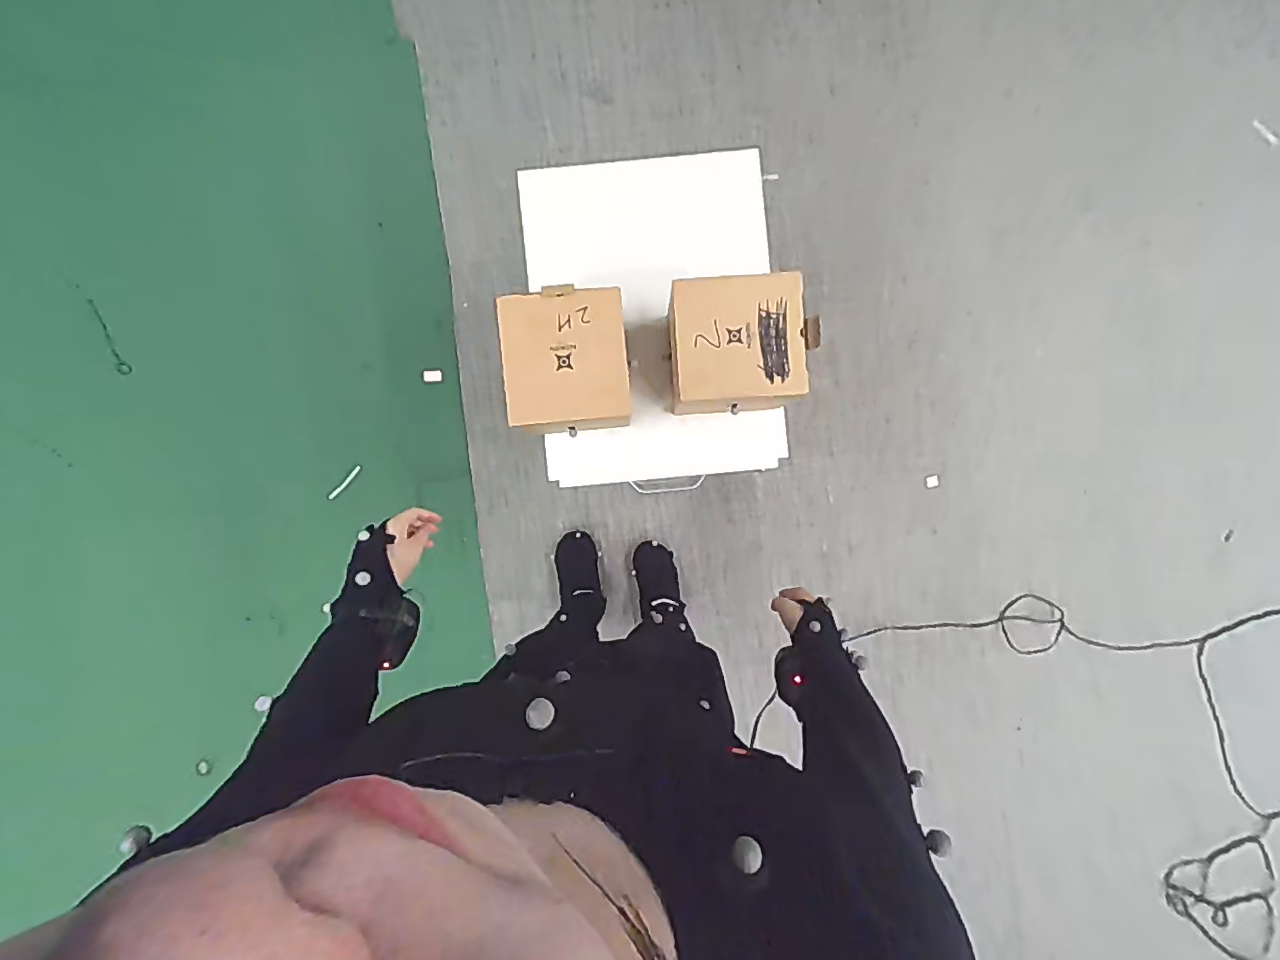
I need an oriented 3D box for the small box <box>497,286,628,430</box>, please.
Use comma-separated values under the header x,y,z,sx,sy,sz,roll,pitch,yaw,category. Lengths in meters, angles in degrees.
x,y,z,sx,sy,sz,roll,pitch,yaw,category
-0.104,-0.167,0.794,0.168,0.176,0.179,-5,91,-3,small box
